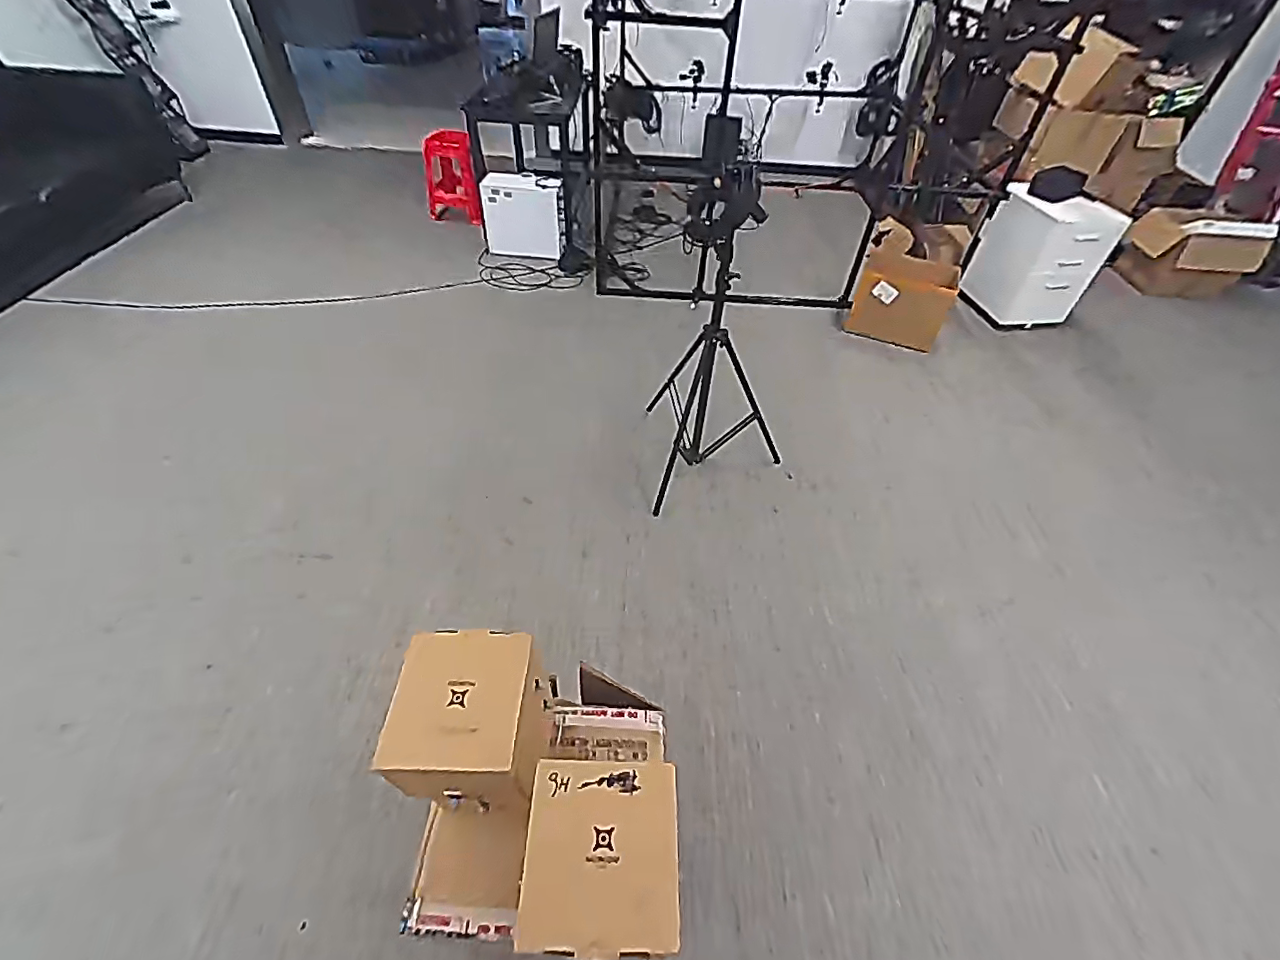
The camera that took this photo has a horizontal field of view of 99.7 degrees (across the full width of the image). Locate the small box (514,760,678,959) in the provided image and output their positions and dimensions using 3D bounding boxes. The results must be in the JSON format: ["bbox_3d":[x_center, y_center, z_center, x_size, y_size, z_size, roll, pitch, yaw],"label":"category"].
[{"bbox_3d":[-0.044,0.450,0.642,0.168,0.176,0.179,2,49,-2],"label":"small box"}]

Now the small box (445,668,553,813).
[{"bbox_3d":[-0.237,0.421,0.880,0.168,0.176,0.179,1,48,0],"label":"small box"}]

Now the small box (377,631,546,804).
[{"bbox_3d":[-0.228,0.328,0.745,0.168,0.176,0.179,1,49,0],"label":"small box"}]
